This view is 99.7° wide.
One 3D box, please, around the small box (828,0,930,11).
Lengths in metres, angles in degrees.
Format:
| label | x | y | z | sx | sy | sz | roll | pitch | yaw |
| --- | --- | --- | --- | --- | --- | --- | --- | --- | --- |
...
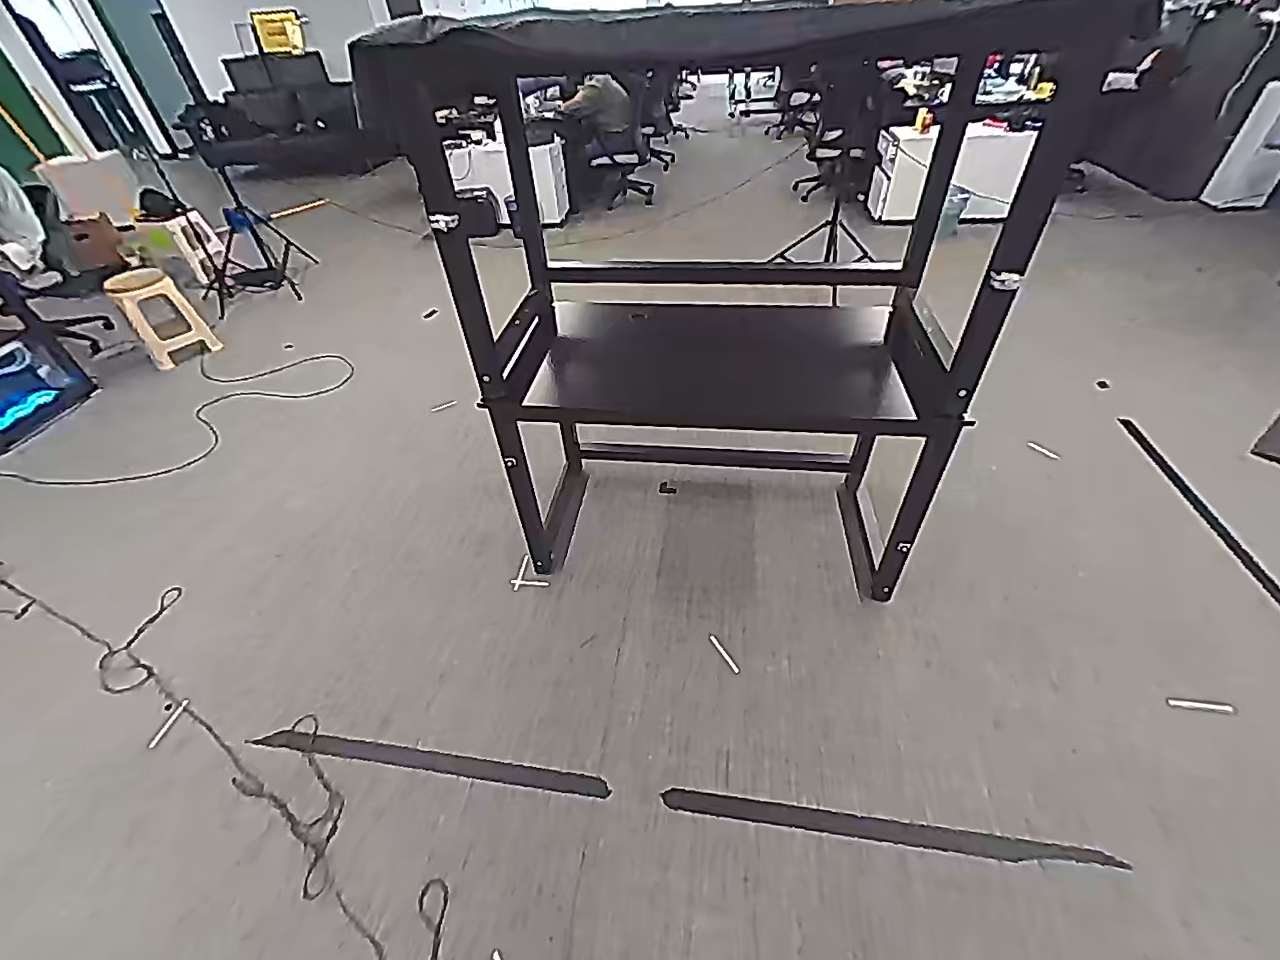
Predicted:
| label | x | y | z | sx | sy | sz | roll | pitch | yaw |
| --- | --- | --- | --- | --- | --- | --- | --- | --- | --- |
| small box | 0.395 | -0.853 | 0.843 | 0.168 | 0.176 | 0.179 | 6 | 41 | 11 |
